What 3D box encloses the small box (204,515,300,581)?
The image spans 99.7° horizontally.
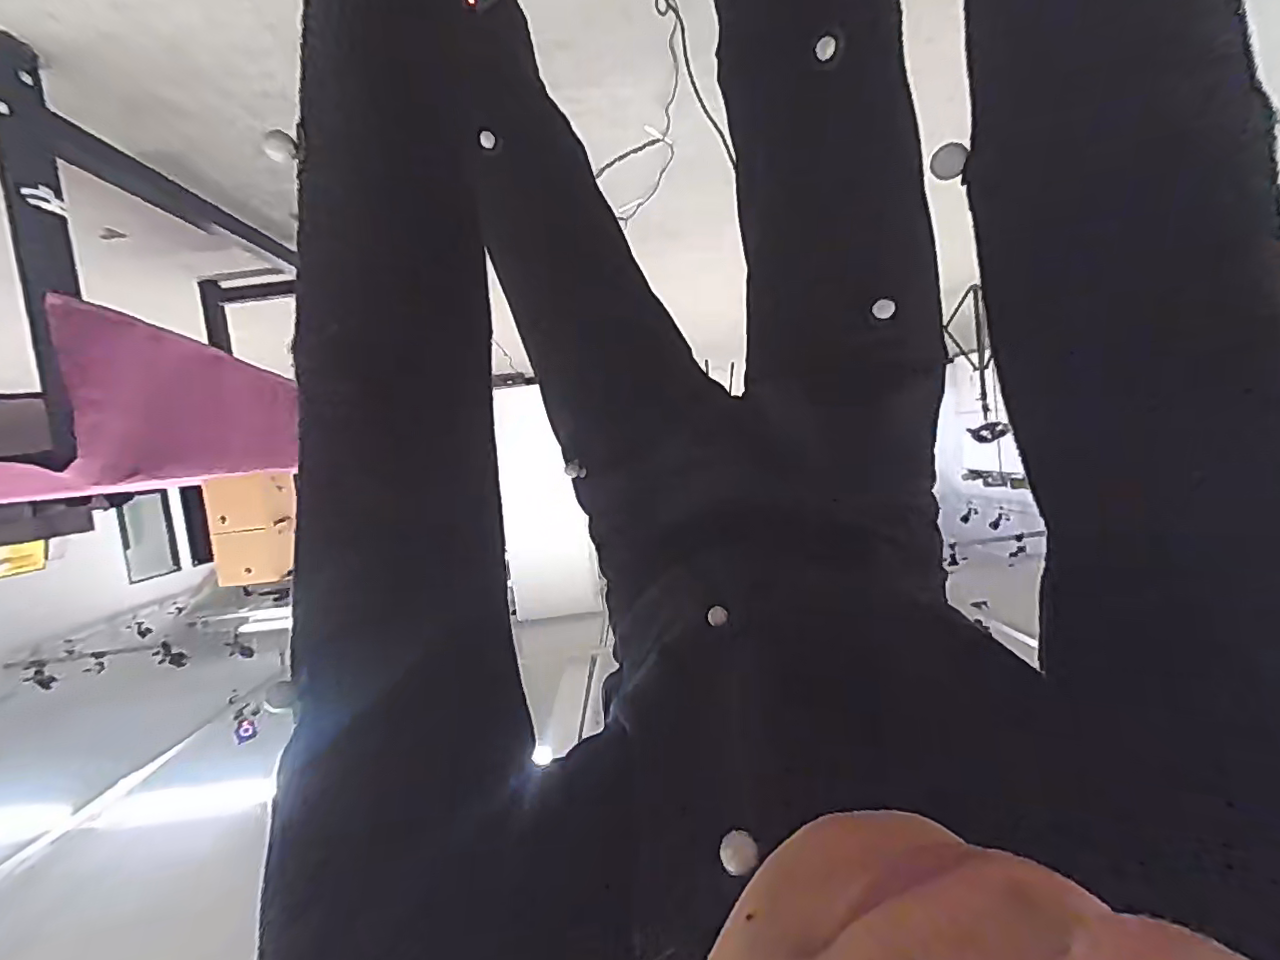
[{"bbox_3d":[-1.211,0.204,1.691,0.179,0.176,0.168,-6,-175,2],"label":"small box"}]

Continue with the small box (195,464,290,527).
[{"bbox_3d":[-1.231,0.041,1.675,0.179,0.176,0.168,-8,-174,-2],"label":"small box"}]
